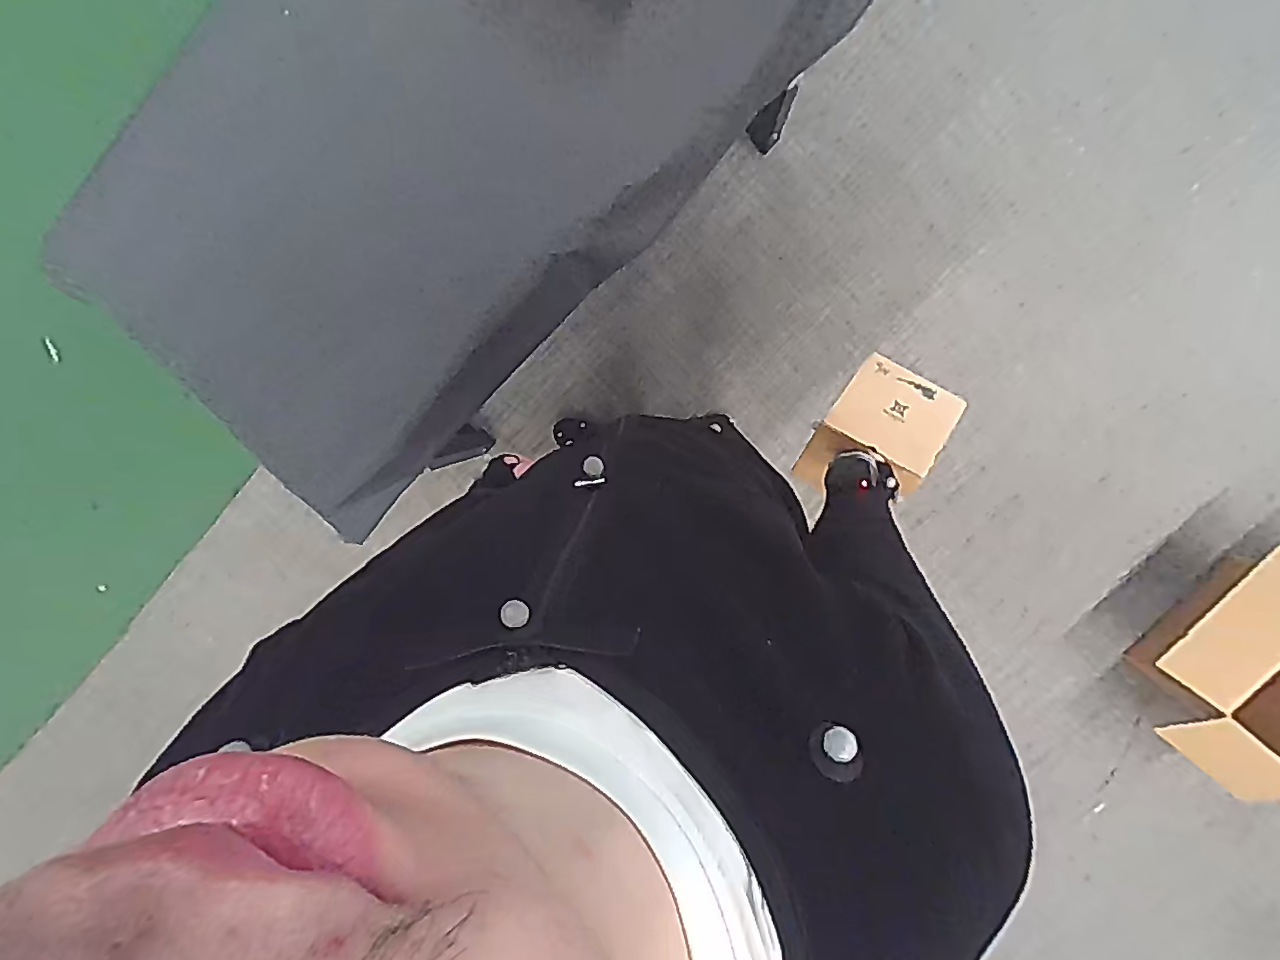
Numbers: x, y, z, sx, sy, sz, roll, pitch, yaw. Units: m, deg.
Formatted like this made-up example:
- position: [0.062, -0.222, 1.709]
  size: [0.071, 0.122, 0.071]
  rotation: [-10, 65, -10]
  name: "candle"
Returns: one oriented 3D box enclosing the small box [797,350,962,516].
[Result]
- position: [0.379, -0.071, 0.890]
  size: [0.168, 0.176, 0.179]
  rotation: [34, 67, 14]
  name: "small box"
